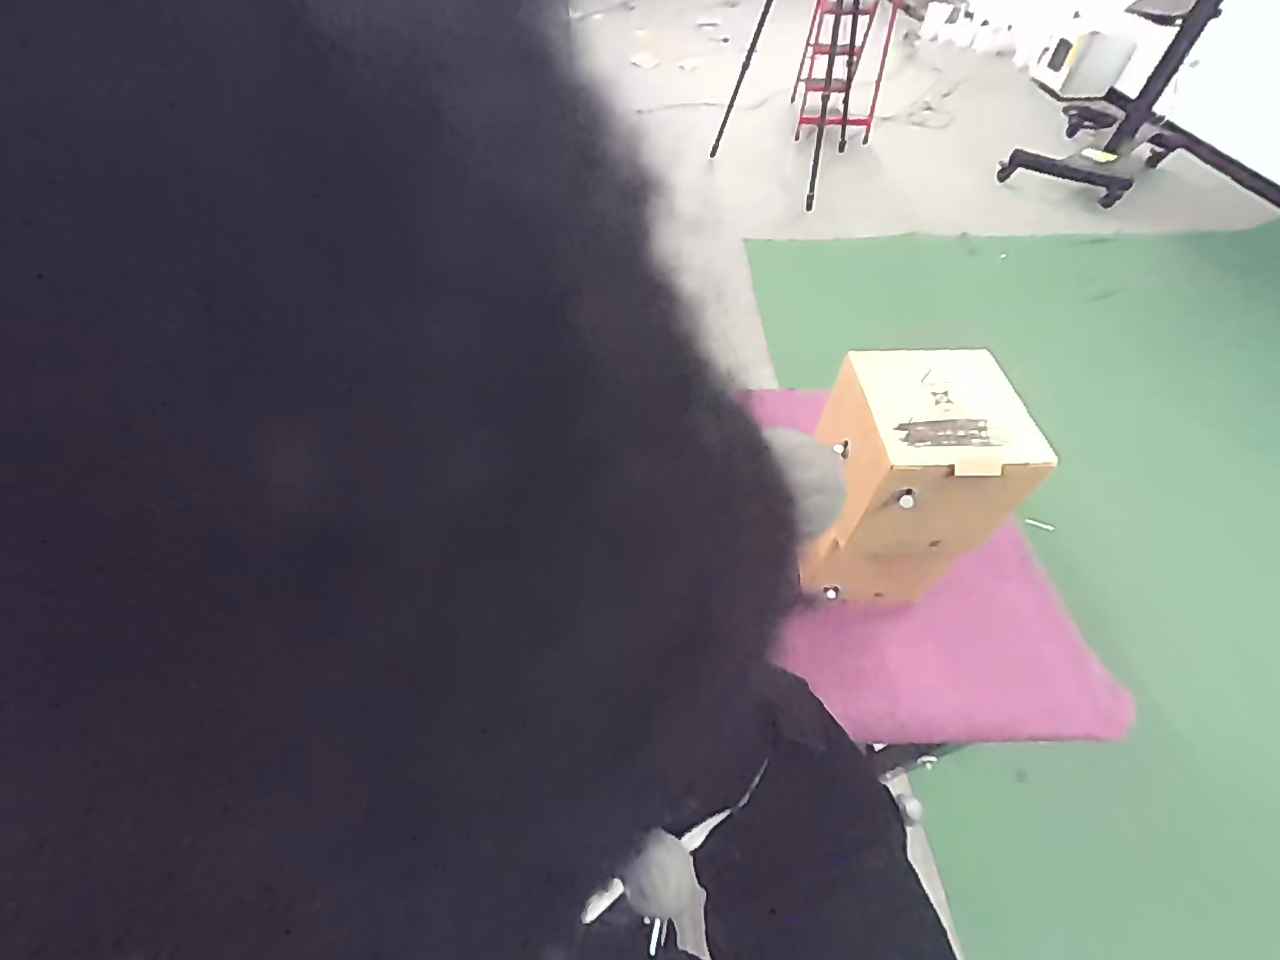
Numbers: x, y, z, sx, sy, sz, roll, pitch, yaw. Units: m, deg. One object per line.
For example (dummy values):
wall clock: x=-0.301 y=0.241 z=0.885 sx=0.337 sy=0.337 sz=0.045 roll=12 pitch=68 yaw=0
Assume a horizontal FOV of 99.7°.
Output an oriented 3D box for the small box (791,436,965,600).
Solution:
small box: x=0.324 y=0.059 z=0.779 sx=0.168 sy=0.176 sz=0.179 roll=3 pitch=52 yaw=2
